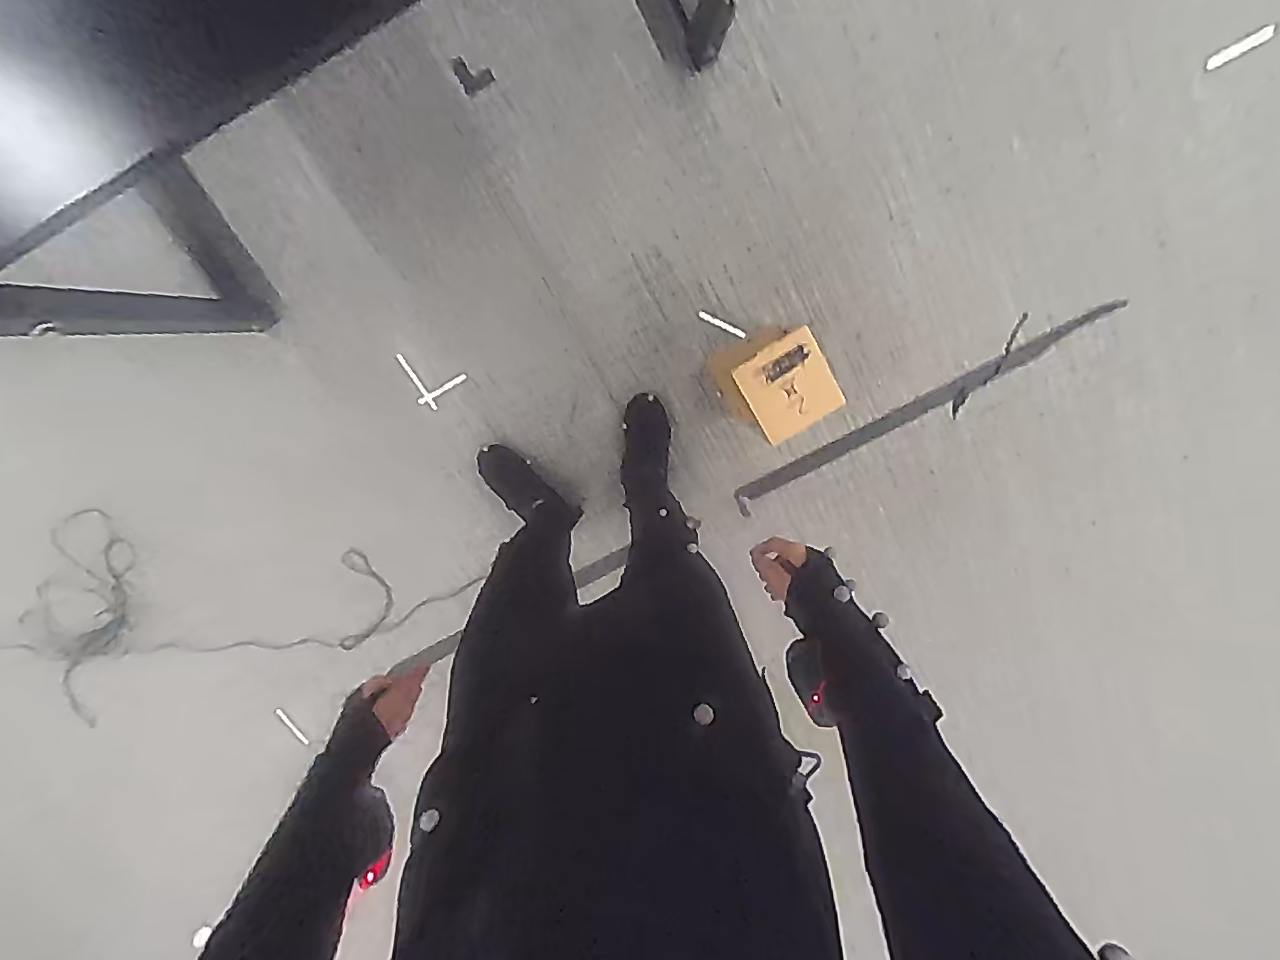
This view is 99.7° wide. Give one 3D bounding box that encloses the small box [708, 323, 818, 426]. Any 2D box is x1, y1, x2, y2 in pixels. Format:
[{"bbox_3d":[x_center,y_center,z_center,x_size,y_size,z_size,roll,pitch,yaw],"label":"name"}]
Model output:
[{"bbox_3d":[0.277,-0.251,1.254,0.179,0.176,0.168,-29,105,6],"label":"small box"}]
